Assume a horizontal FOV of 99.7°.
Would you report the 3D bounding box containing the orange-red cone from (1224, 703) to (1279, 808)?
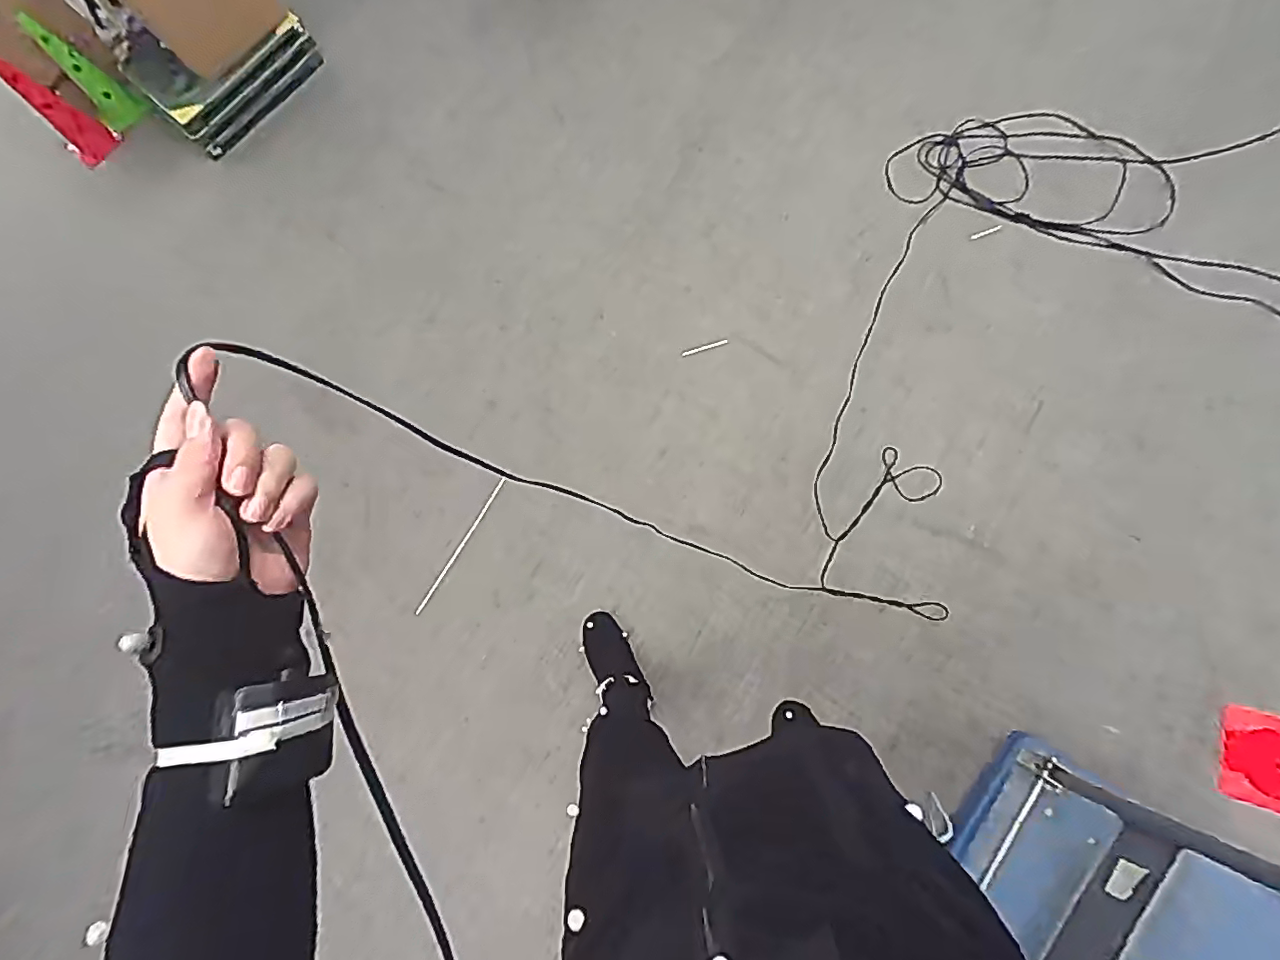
[{"bbox_3d":[1.366,0.566,1.011,0.198,0.360,0.199,15,78,11],"label":"orange-red cone"}]
